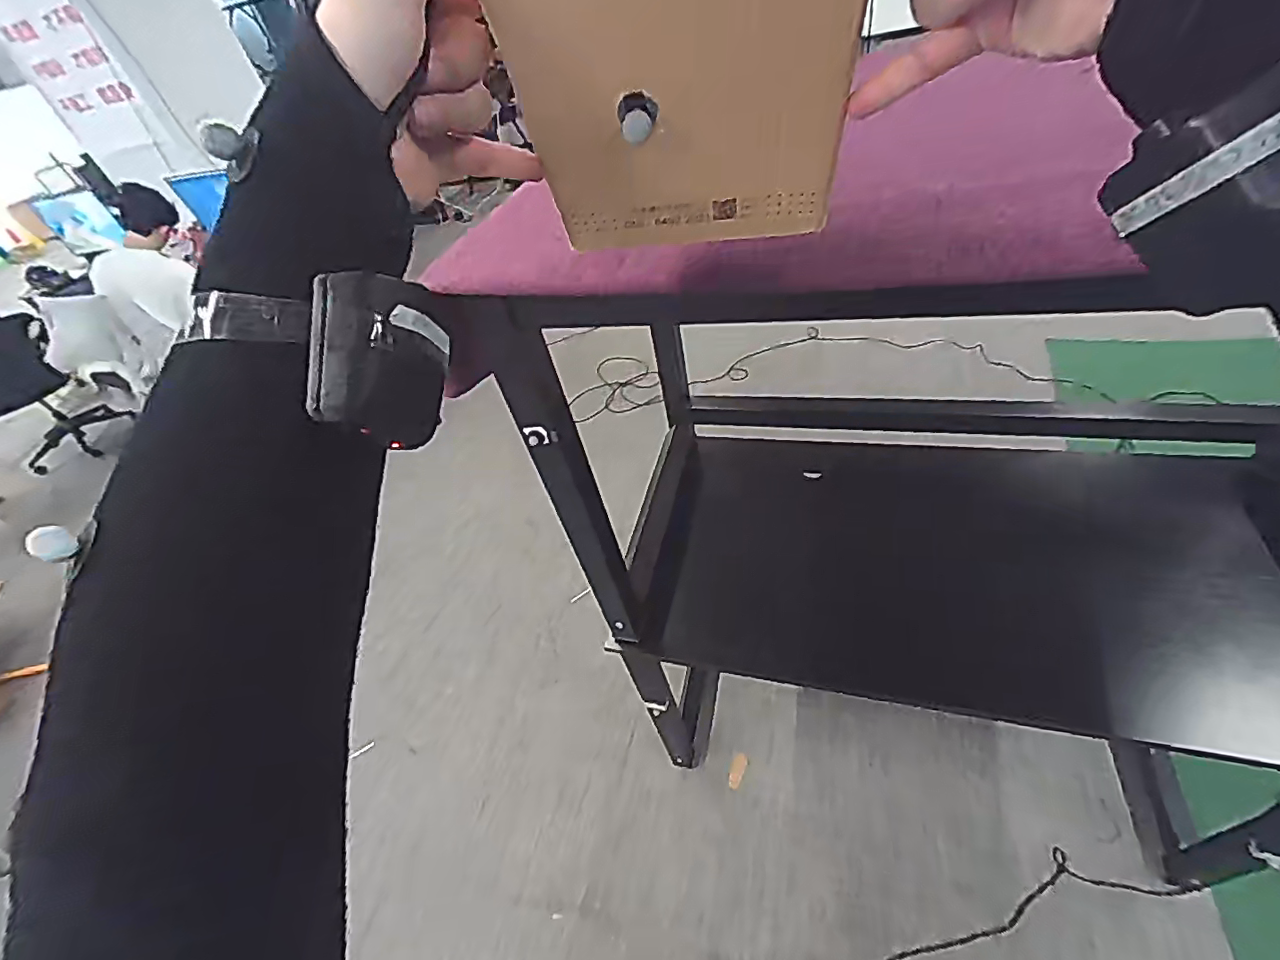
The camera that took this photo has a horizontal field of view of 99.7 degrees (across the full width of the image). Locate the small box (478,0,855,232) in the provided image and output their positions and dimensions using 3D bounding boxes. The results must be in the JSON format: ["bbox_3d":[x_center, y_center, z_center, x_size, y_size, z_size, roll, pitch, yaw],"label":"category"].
[{"bbox_3d":[0.026,-0.265,0.308,0.168,0.176,0.179,-1,69,10],"label":"small box"}]
